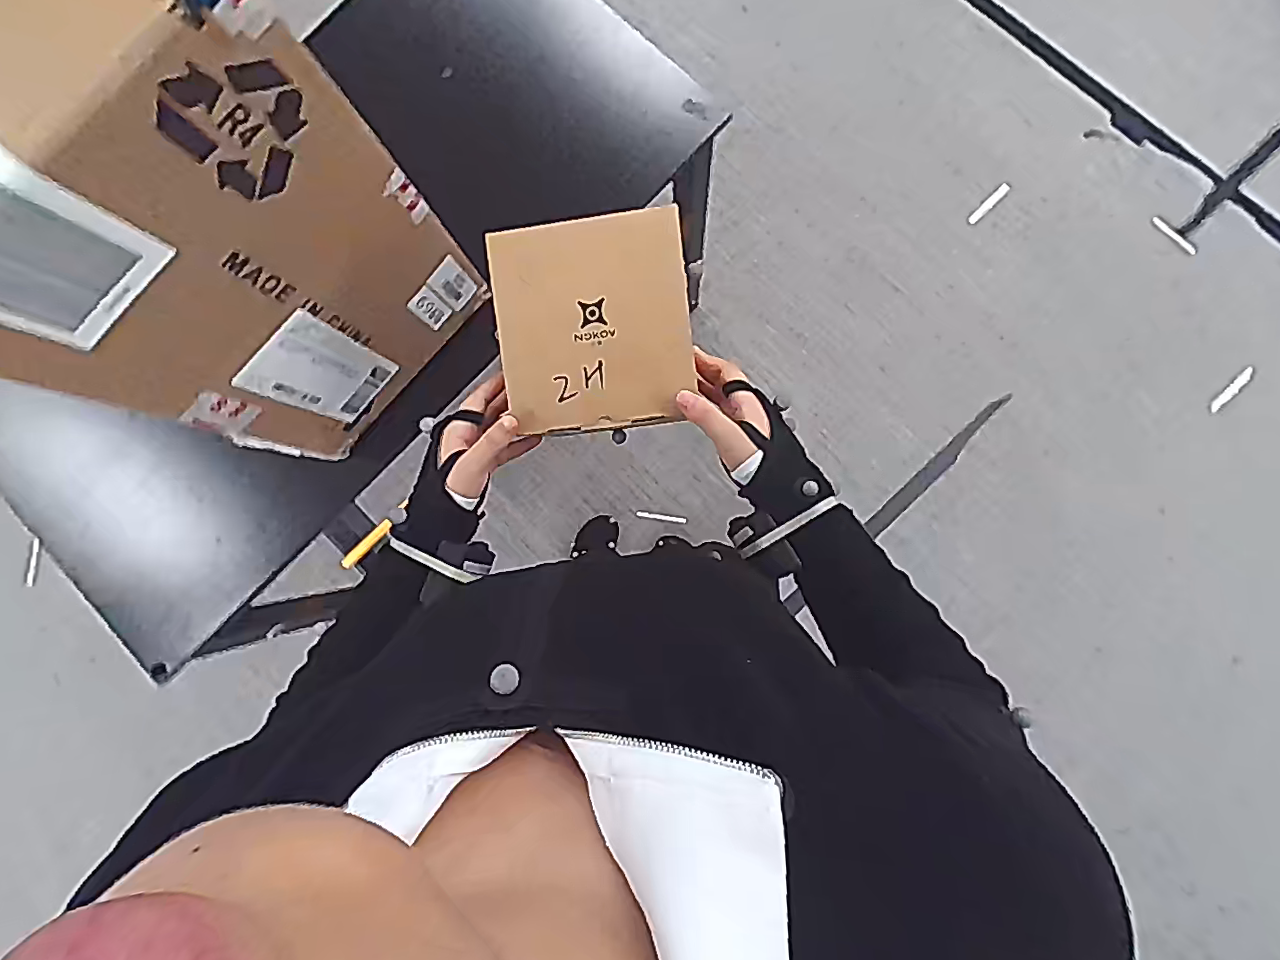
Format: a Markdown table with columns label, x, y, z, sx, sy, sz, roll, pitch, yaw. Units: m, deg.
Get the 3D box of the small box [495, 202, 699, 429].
| label | x | y | z | sx | sy | sz | roll | pitch | yaw |
| --- | --- | --- | --- | --- | --- | --- | --- | --- | --- |
| small box | -0.032 | -0.147 | 0.542 | 0.168 | 0.176 | 0.179 | -5 | 94 | 5 |
